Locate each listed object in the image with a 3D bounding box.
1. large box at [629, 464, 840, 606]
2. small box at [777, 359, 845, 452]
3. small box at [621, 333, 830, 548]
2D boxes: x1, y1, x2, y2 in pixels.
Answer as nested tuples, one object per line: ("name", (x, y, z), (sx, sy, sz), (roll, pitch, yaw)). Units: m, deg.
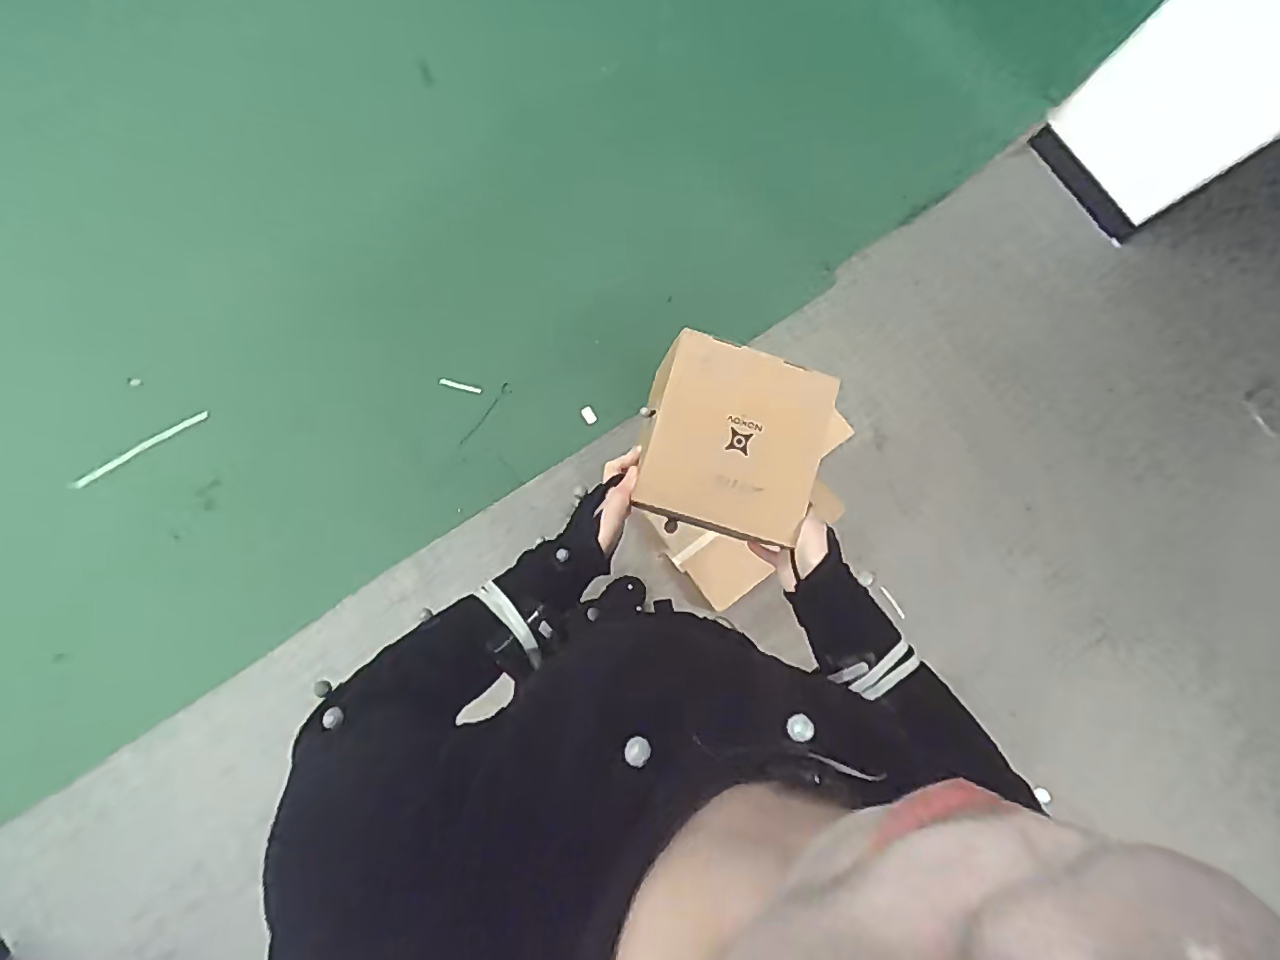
("large box", (0.222, 0.081, 1.414), (0.408, 0.320, 0.320), (-39, 85, -11))
("small box", (0.244, -0.092, 1.031), (0.179, 0.176, 0.168), (-39, 82, -9))
("small box", (0.081, -0.033, 0.604), (0.168, 0.176, 0.179), (17, 84, -5))
